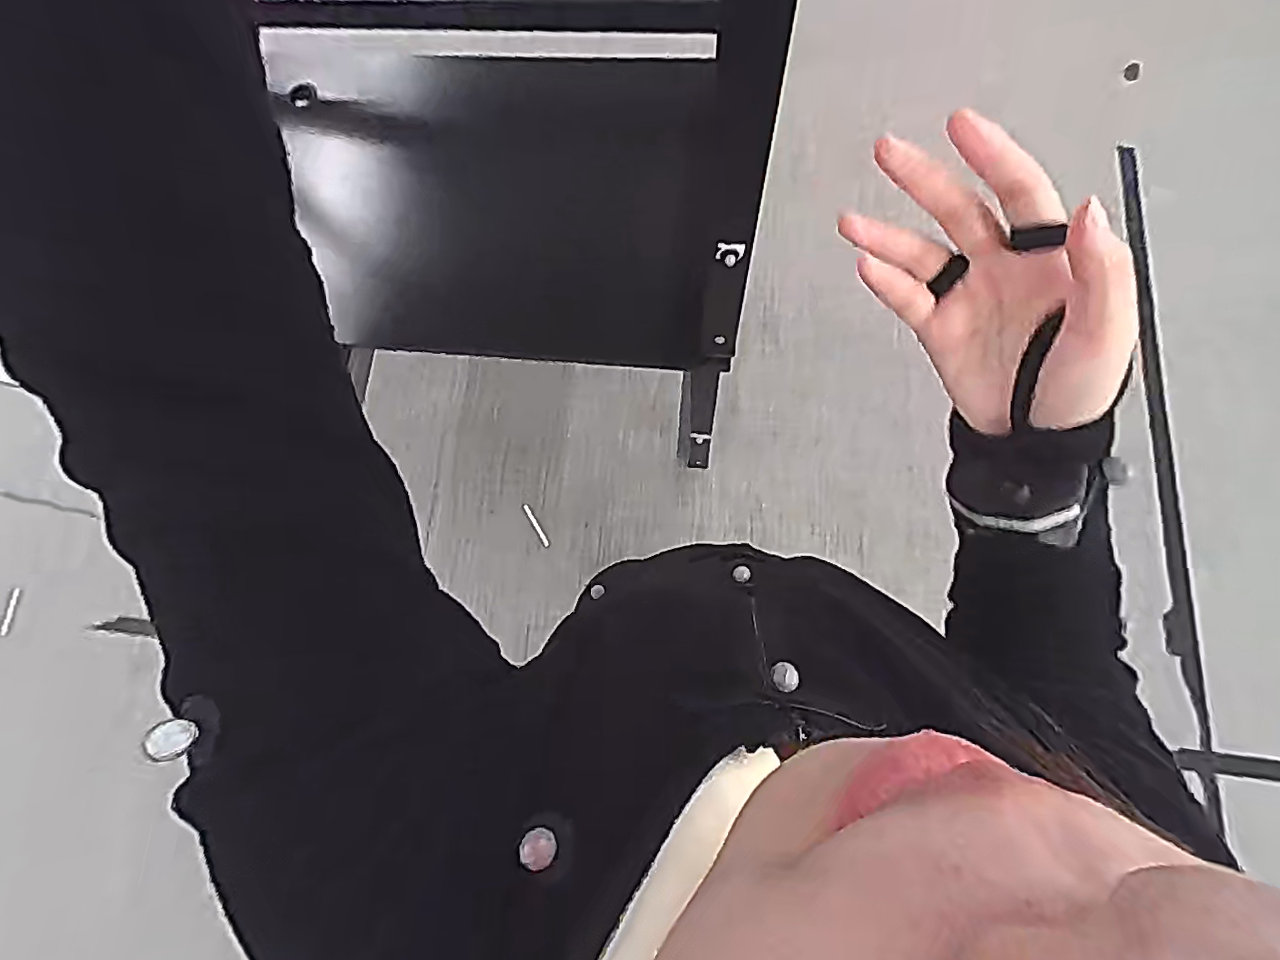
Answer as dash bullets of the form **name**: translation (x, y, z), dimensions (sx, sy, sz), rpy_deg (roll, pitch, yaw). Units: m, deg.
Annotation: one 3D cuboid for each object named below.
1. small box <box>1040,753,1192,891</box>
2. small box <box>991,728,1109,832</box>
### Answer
- **small box**: translation (0.943, 0.676, 1.088), dimensions (0.168, 0.176, 0.179), rpy_deg (6, 78, 6)
- **small box**: translation (0.945, 0.700, 1.251), dimensions (0.168, 0.176, 0.179), rpy_deg (10, 80, 7)
